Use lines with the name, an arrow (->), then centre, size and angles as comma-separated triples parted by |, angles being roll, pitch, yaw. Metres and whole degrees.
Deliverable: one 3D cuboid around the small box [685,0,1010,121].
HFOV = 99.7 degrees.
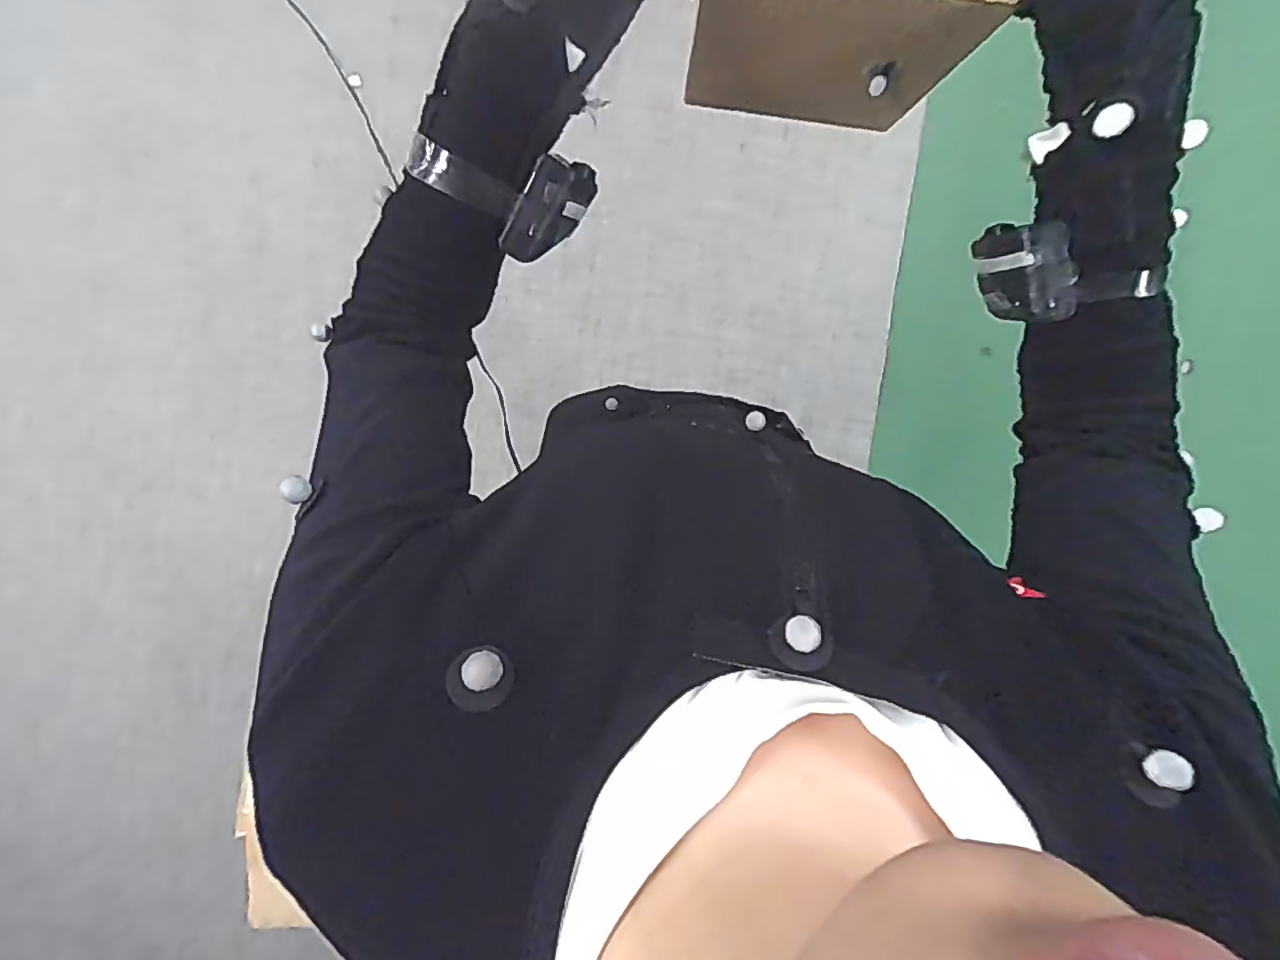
small box -> 0.130, -0.368, 0.359 | 0.179, 0.176, 0.168 | 6, 102, 0
